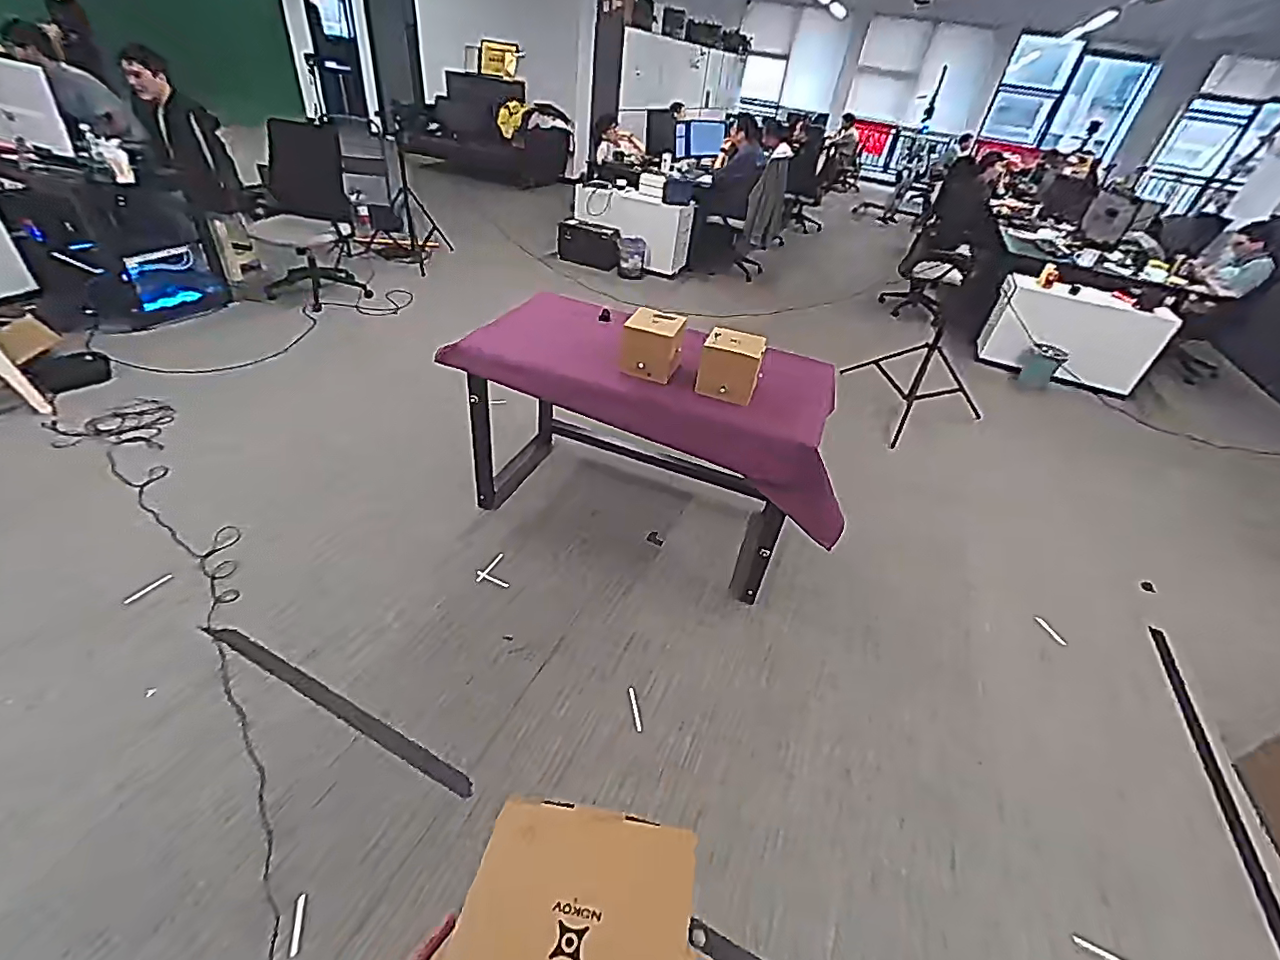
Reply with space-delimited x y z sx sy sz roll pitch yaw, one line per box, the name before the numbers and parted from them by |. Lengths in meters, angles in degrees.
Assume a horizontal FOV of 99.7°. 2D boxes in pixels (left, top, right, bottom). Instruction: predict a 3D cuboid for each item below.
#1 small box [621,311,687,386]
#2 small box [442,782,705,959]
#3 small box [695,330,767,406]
small box | 0.043 -0.433 1.779 0.168 0.176 0.179 16 38 11
small box | -0.047 0.380 0.419 0.168 0.176 0.179 7 31 8
small box | 0.288 -0.354 1.724 0.179 0.176 0.168 17 38 11
